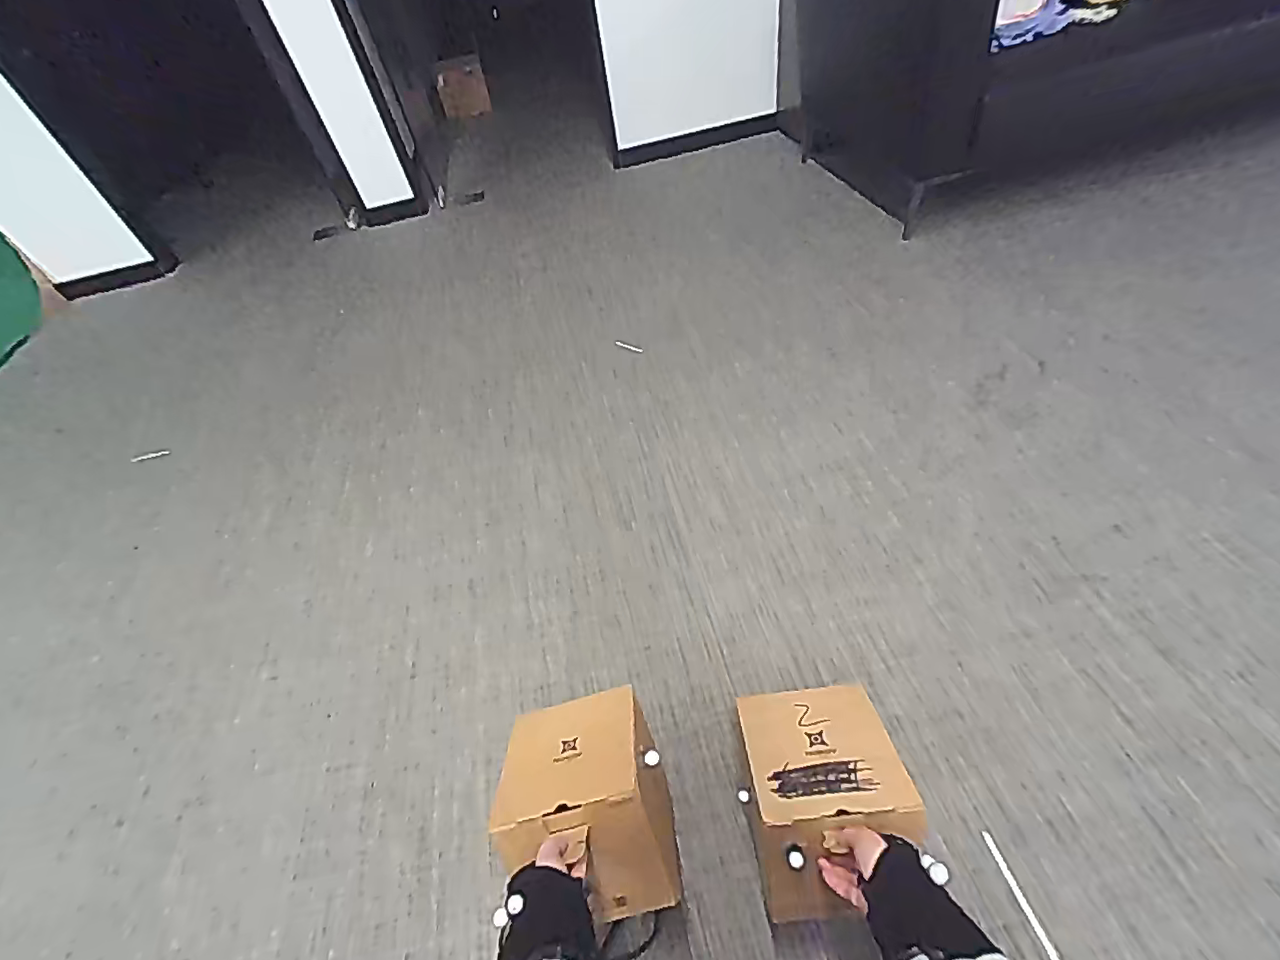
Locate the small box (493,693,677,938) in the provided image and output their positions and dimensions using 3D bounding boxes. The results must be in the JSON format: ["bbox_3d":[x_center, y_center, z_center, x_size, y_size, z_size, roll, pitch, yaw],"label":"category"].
[{"bbox_3d":[-0.059,0.405,0.670,0.168,0.176,0.179,-17,16,3],"label":"small box"}]
